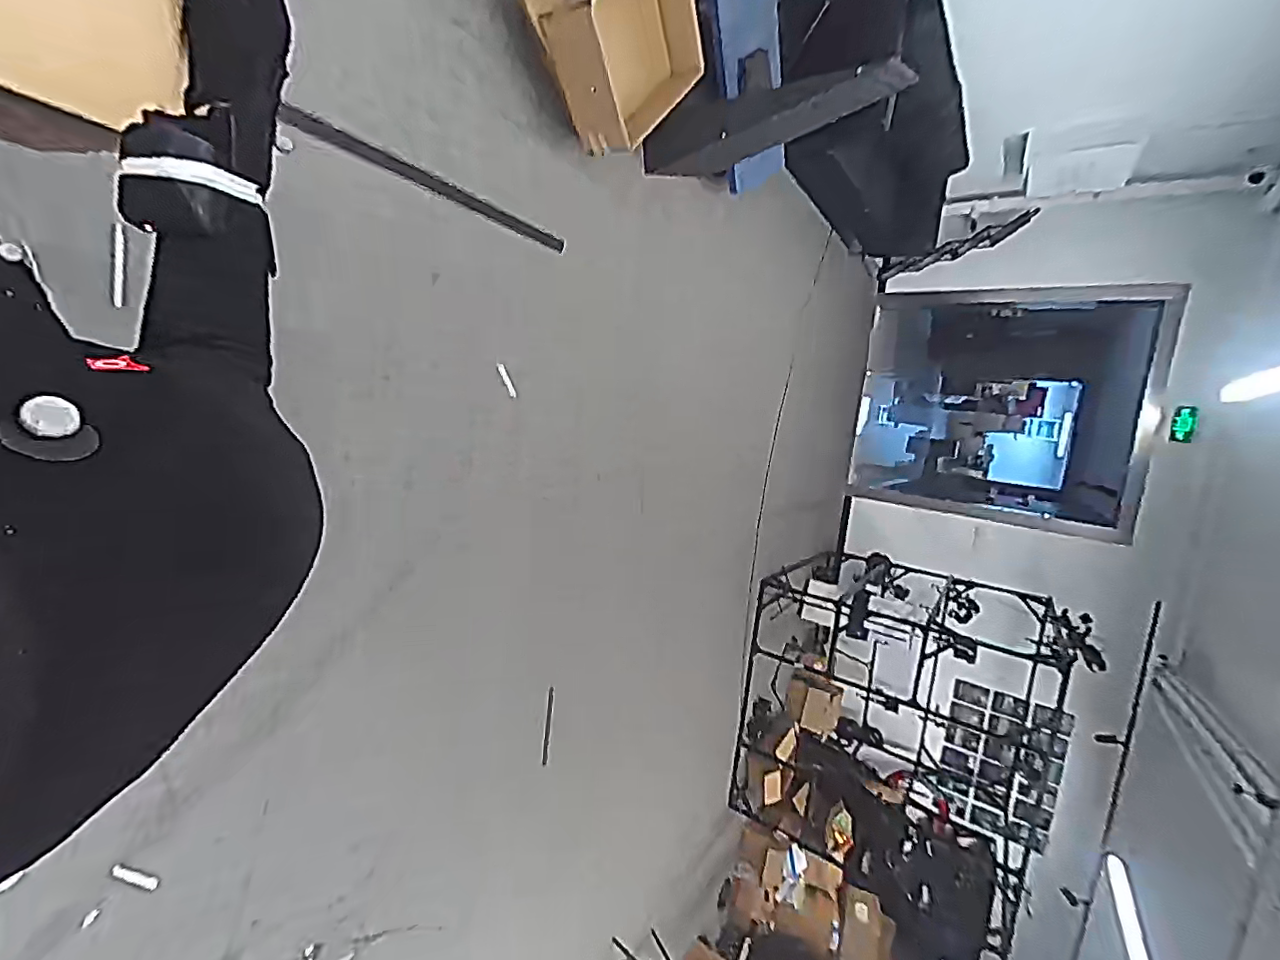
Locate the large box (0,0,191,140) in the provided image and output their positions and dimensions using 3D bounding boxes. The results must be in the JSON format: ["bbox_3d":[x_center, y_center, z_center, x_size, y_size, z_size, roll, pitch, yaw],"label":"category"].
[{"bbox_3d":[-0.532,-0.426,0.271,0.408,0.320,0.320,-6,113,-60],"label":"large box"}]
